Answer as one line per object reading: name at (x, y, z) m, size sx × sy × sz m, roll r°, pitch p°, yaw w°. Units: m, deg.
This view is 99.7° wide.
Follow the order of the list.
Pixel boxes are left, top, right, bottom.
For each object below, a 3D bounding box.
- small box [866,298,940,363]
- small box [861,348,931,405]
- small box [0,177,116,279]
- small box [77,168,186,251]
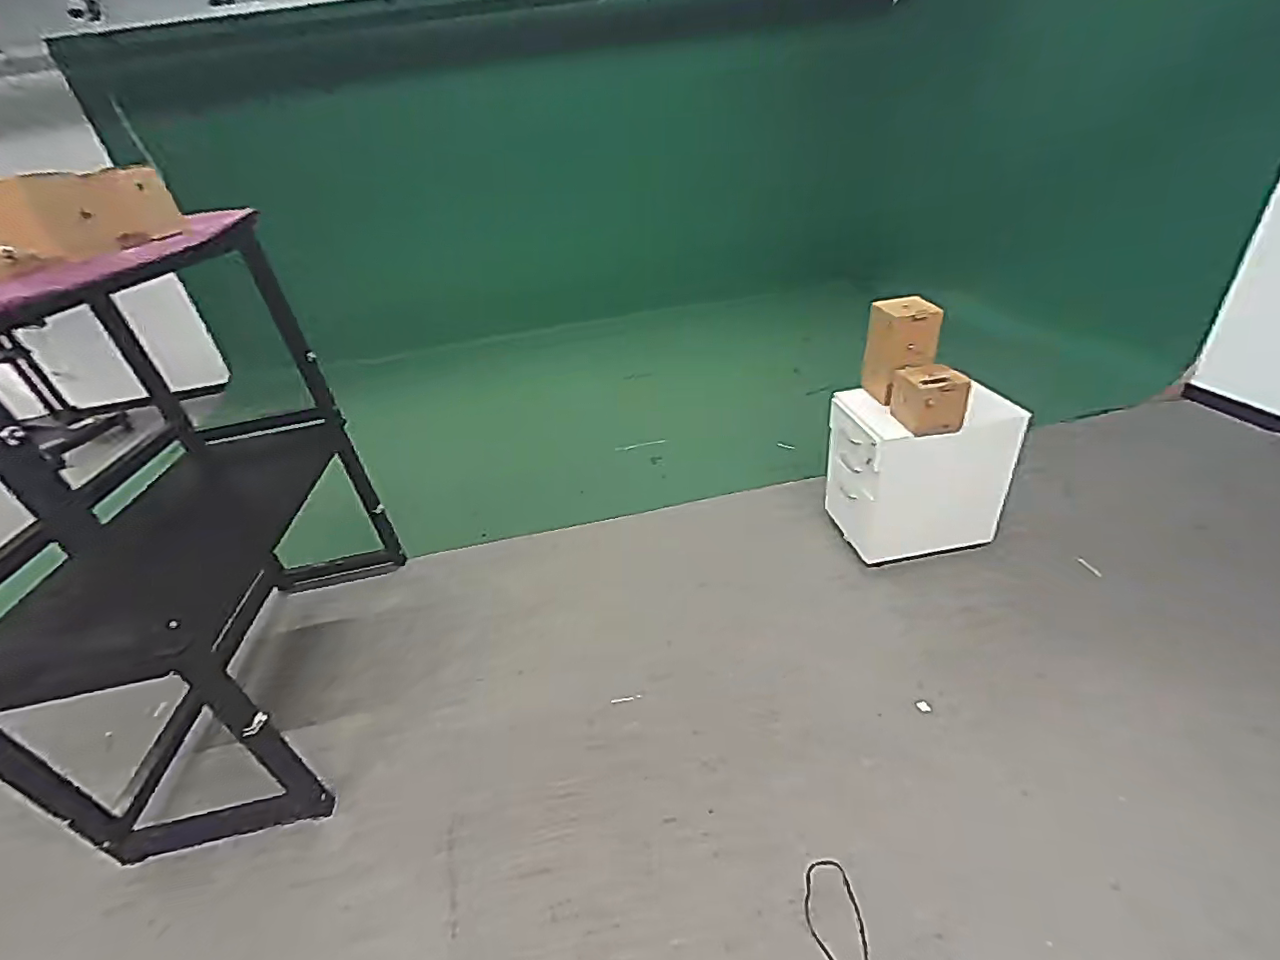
small box at (0.923, -0.529, 1.917) m, size 0.168 × 0.176 × 0.179 m, roll -9°, pitch 35°, yaw -2°
small box at (0.940, -0.394, 2.007) m, size 0.168 × 0.176 × 0.179 m, roll -11°, pitch 34°, yaw -3°
small box at (-1.292, -0.537, 1.154) m, size 0.168 × 0.176 × 0.179 m, roll -13°, pitch 34°, yaw -5°
small box at (-1.375, -0.717, 1.441) m, size 0.168 × 0.176 × 0.179 m, roll -13°, pitch 33°, yaw -2°
